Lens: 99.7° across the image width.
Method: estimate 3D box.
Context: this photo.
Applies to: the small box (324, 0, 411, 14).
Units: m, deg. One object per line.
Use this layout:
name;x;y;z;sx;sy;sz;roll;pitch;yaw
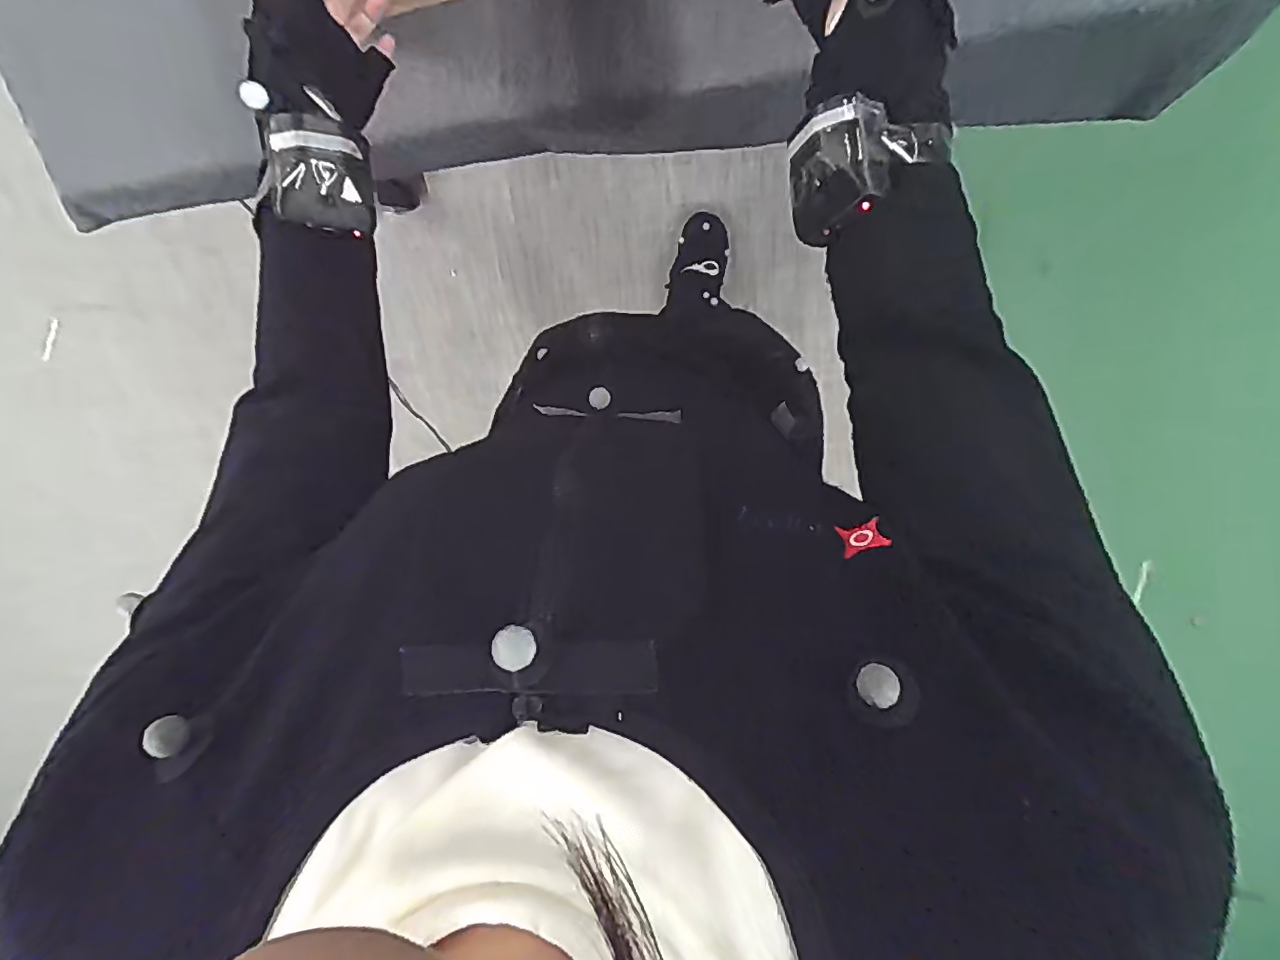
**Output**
small box;-0.226;-0.501;0.412;0.168;0.176;0.179;-9;110;7
